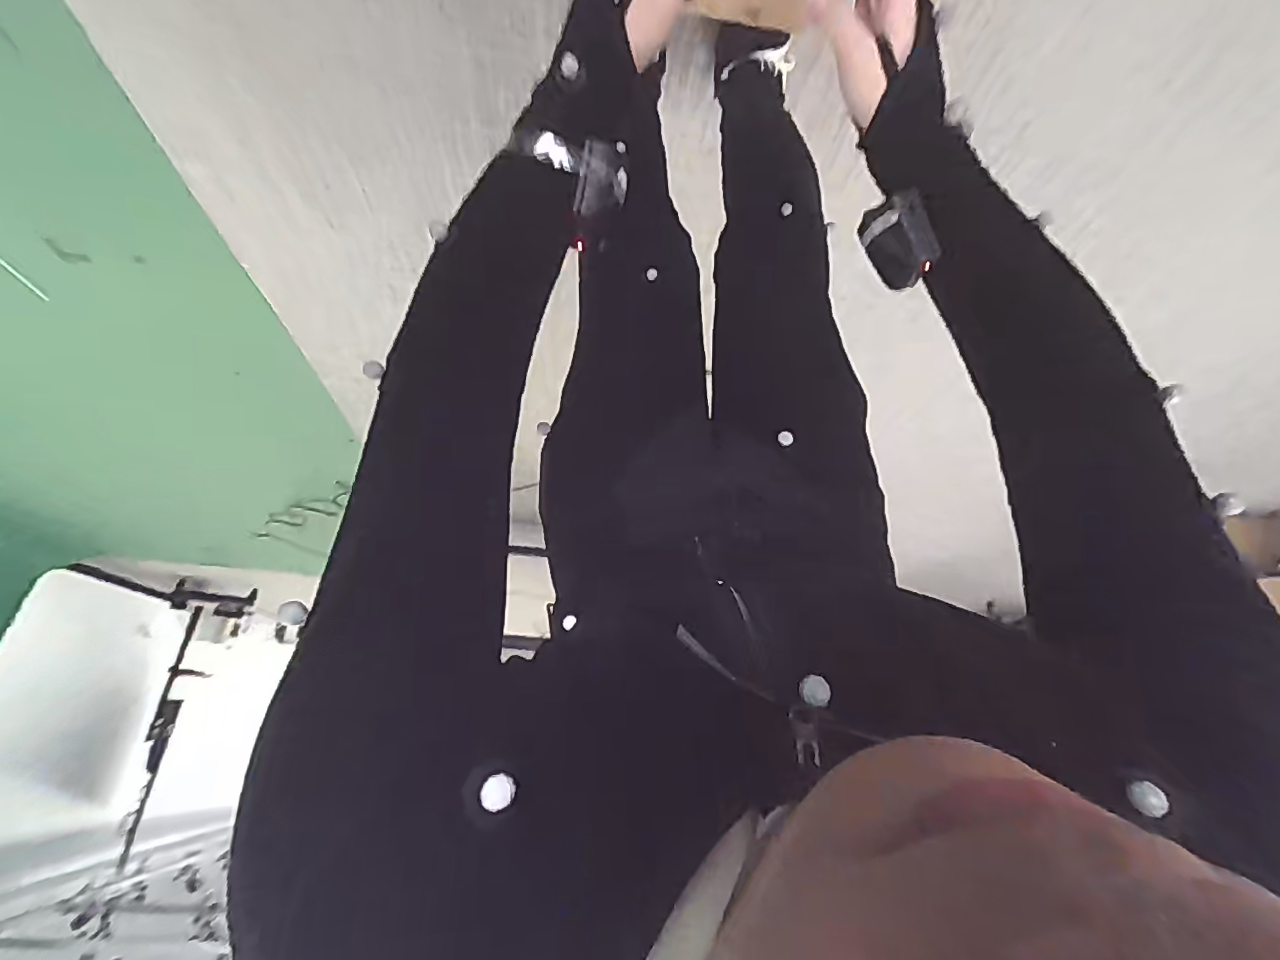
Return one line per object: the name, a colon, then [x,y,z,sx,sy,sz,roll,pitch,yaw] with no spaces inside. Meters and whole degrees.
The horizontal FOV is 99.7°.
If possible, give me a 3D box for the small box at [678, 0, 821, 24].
small box: [0.097,-0.494,0.412,0.168,0.176,0.179,2,109,-9]
